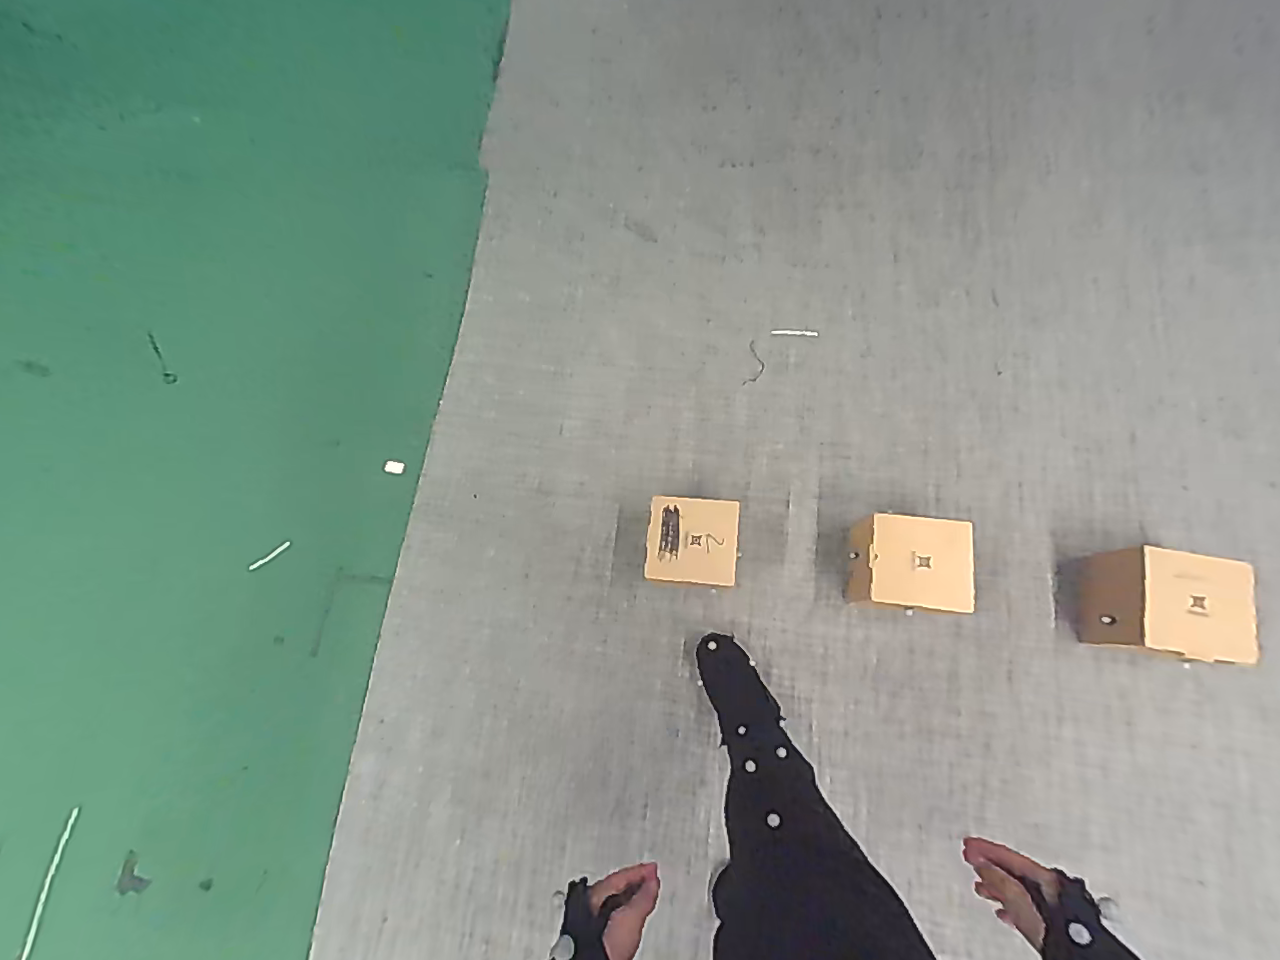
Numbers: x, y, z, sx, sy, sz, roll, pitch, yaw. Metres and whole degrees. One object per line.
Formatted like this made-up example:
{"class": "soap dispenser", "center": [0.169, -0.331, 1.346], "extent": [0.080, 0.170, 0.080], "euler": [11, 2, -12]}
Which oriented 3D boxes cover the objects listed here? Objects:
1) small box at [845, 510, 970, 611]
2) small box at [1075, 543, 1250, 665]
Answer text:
{"class": "small box", "center": [0.515, 0.162, 1.057], "extent": [0.179, 0.176, 0.168], "euler": [5, 76, 9]}
{"class": "small box", "center": [0.935, 0.225, 0.985], "extent": [0.168, 0.176, 0.179], "euler": [10, 76, 9]}
